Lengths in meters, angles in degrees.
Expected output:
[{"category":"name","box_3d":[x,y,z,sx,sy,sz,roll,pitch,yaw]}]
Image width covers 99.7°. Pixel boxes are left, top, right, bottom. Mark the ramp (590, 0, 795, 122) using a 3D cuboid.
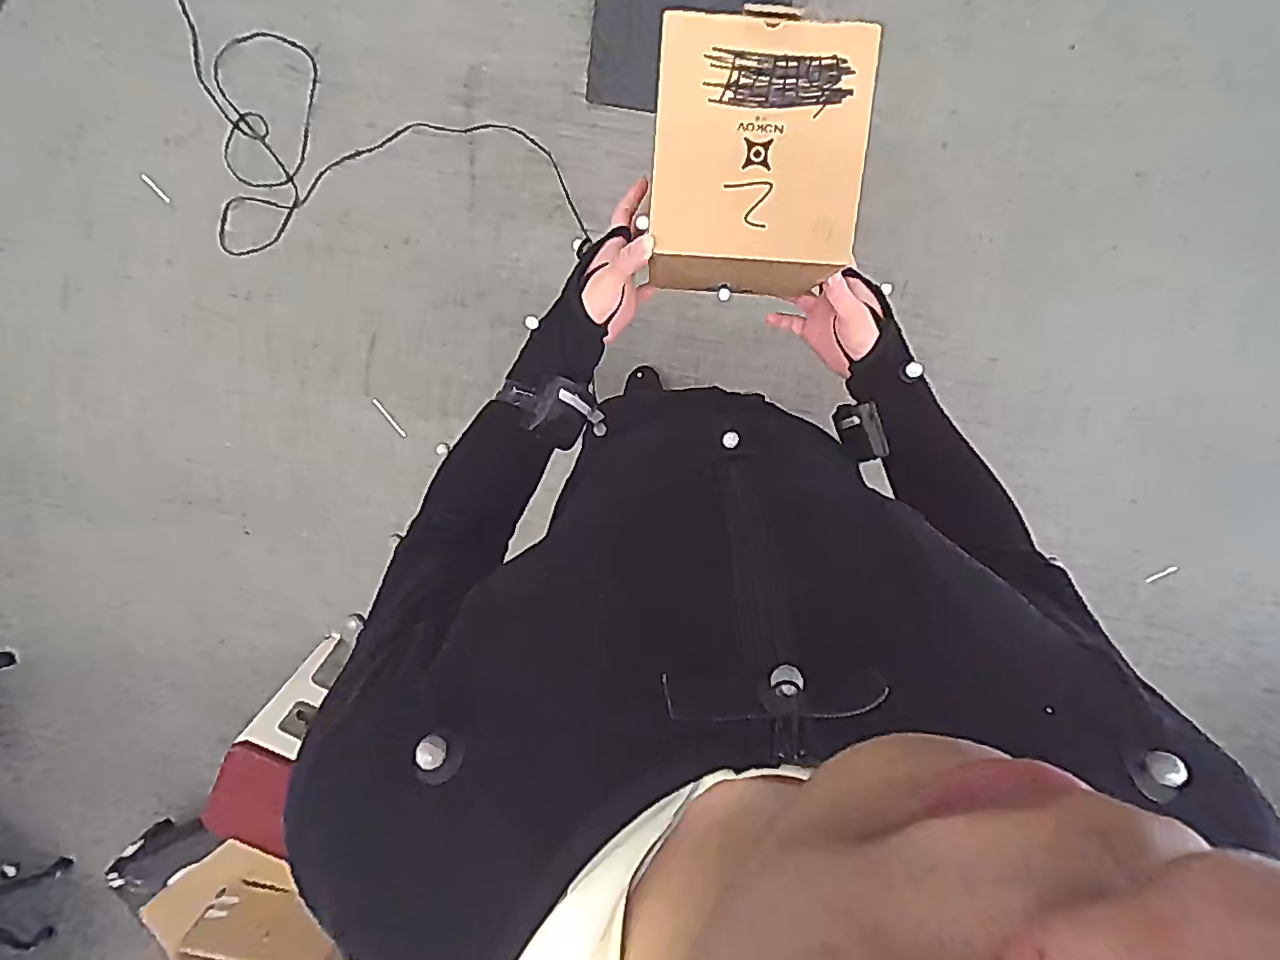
[{"category":"ramp","box_3d":[0.171,-1.423,1.227,0.509,0.206,0.991,6,103,0]}]
